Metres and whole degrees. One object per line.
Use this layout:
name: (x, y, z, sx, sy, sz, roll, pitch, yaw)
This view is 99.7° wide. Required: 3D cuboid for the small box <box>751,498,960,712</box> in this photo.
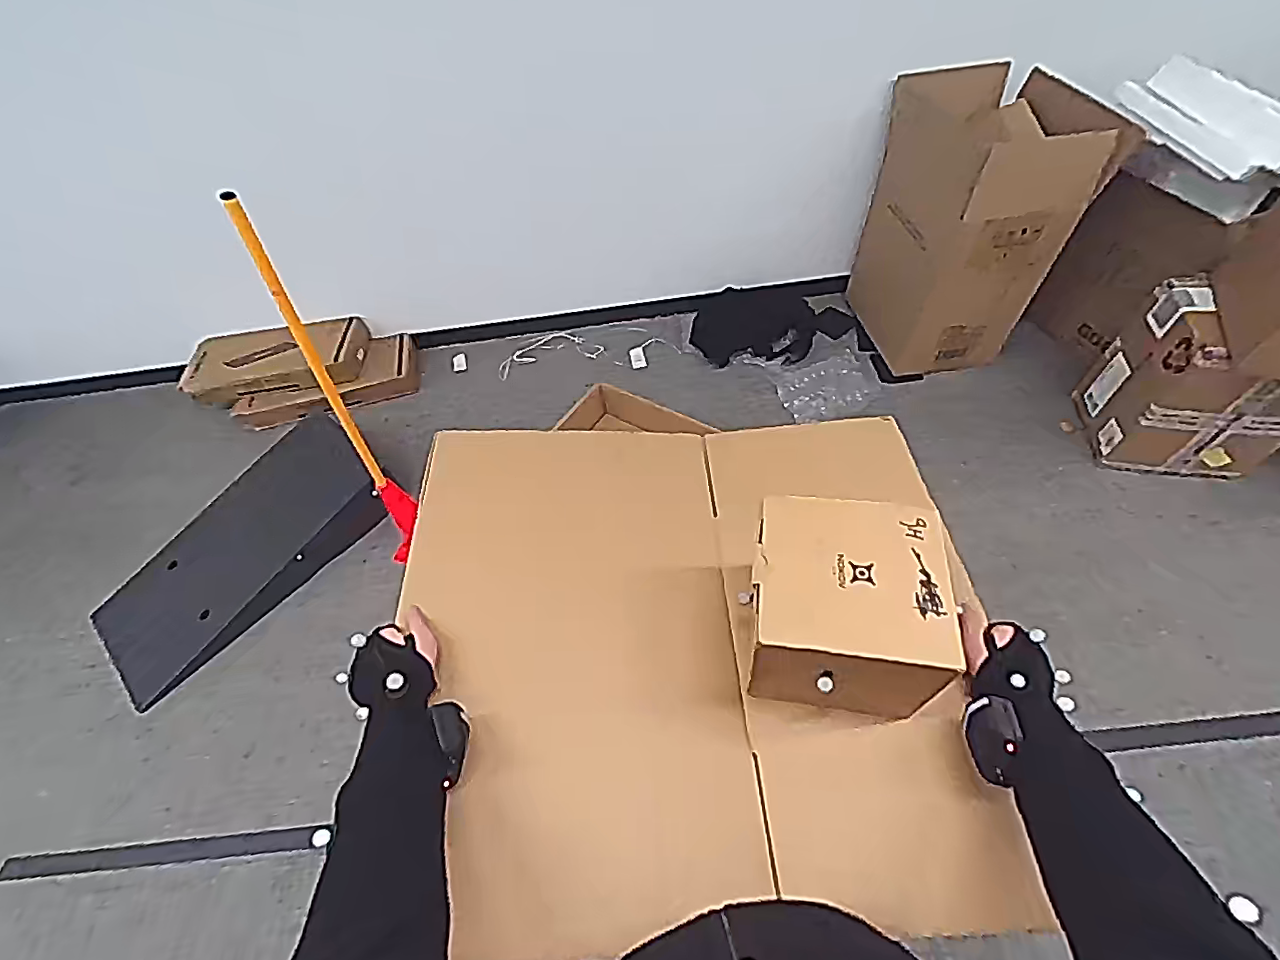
small box: (0.214, 0.138, 0.585, 0.179, 0.176, 0.168, 4, 54, 12)
